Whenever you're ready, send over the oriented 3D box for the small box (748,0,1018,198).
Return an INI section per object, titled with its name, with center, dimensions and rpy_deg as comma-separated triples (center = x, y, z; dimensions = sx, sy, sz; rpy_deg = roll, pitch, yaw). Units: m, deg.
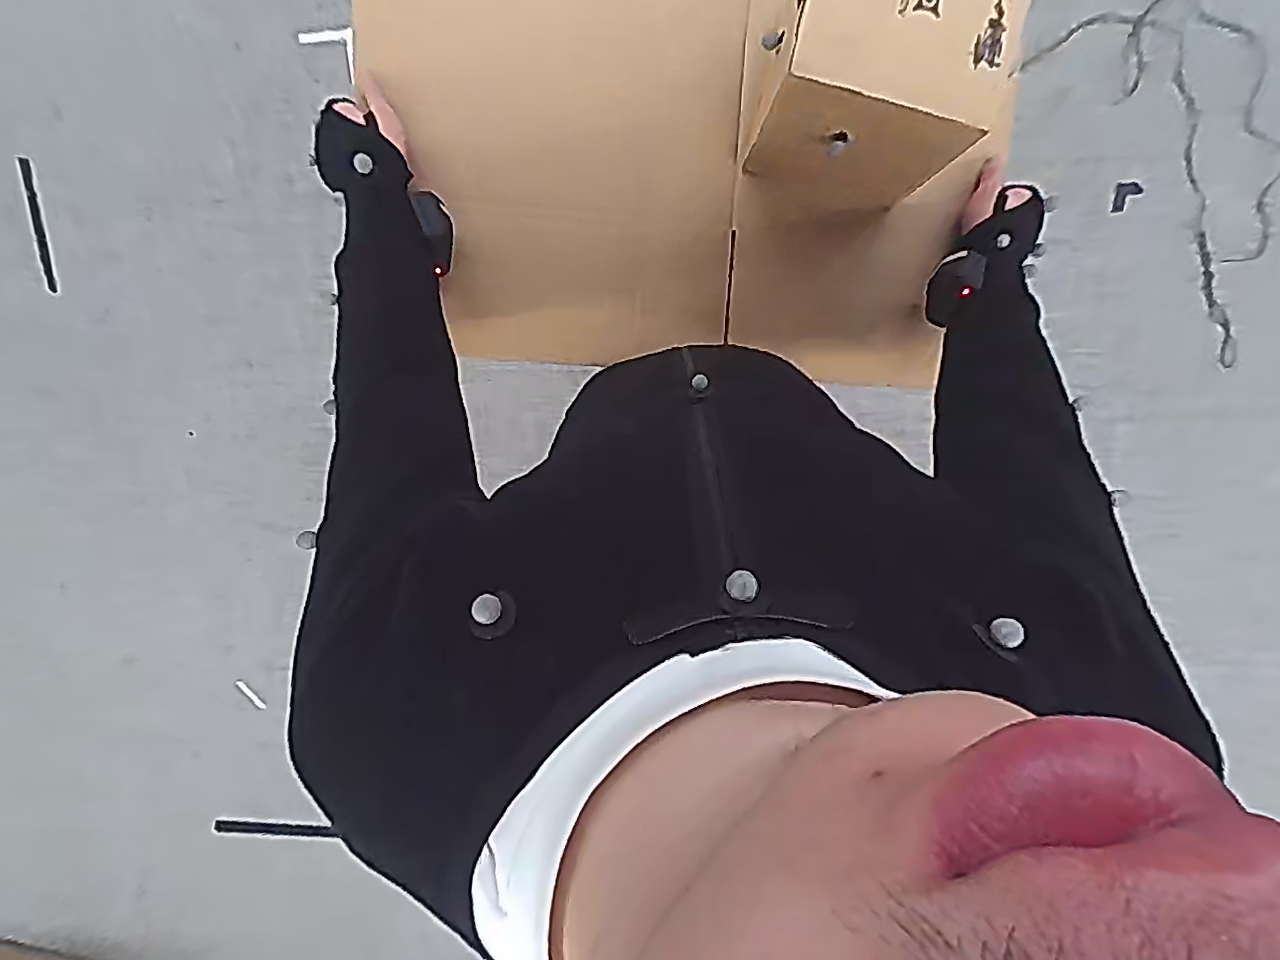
[small box]
center = 0.215, -0.396, 0.512
dimensions = 0.179, 0.176, 0.168
rpy_deg = 13, 97, -2
